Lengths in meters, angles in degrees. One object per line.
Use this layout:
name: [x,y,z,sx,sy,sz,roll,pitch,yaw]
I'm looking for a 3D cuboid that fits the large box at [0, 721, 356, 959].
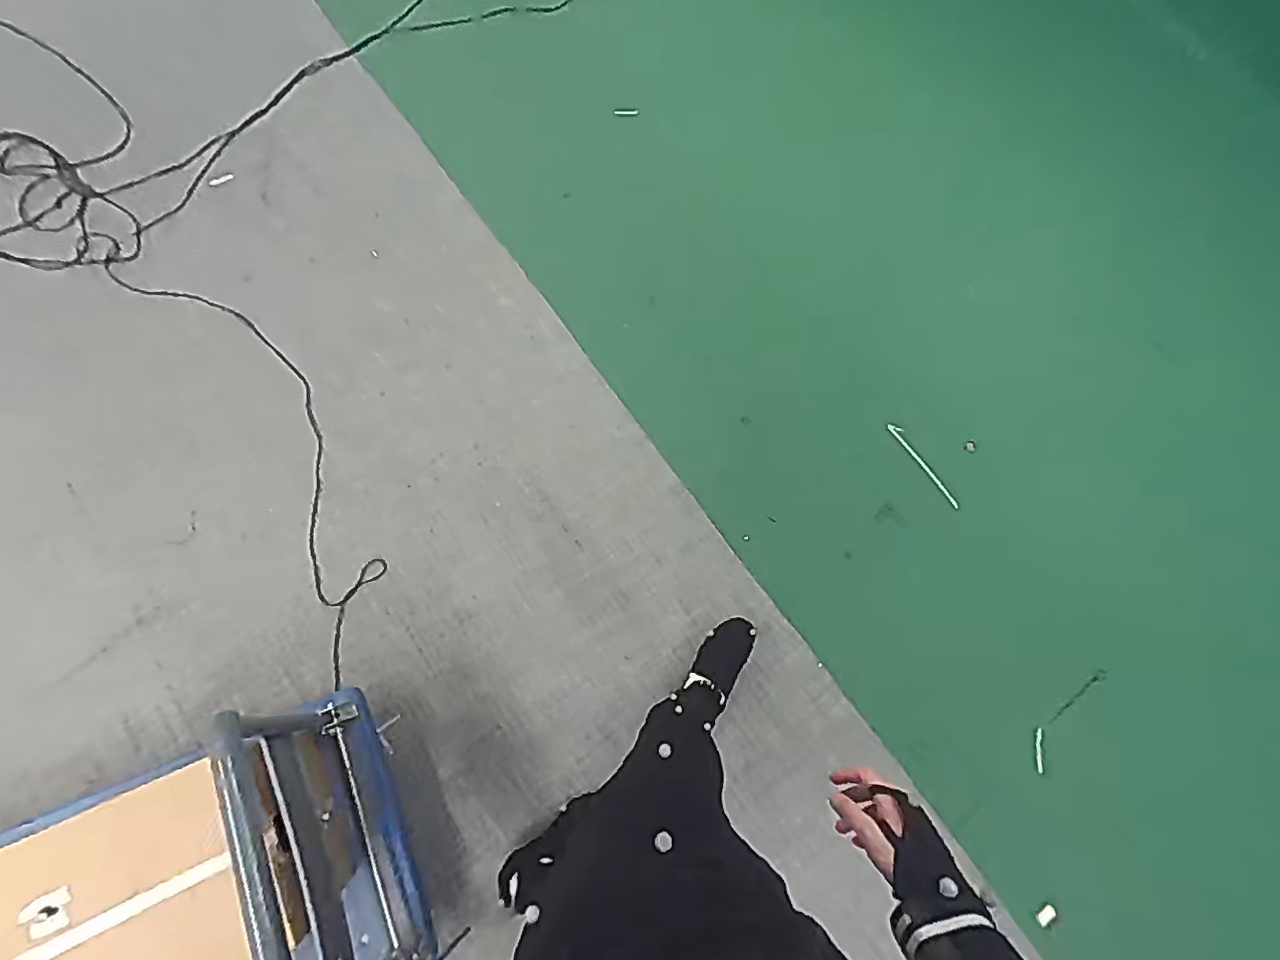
large box: [-0.770,0.661,0.911,0.408,0.320,0.320,-21,76,-19]
